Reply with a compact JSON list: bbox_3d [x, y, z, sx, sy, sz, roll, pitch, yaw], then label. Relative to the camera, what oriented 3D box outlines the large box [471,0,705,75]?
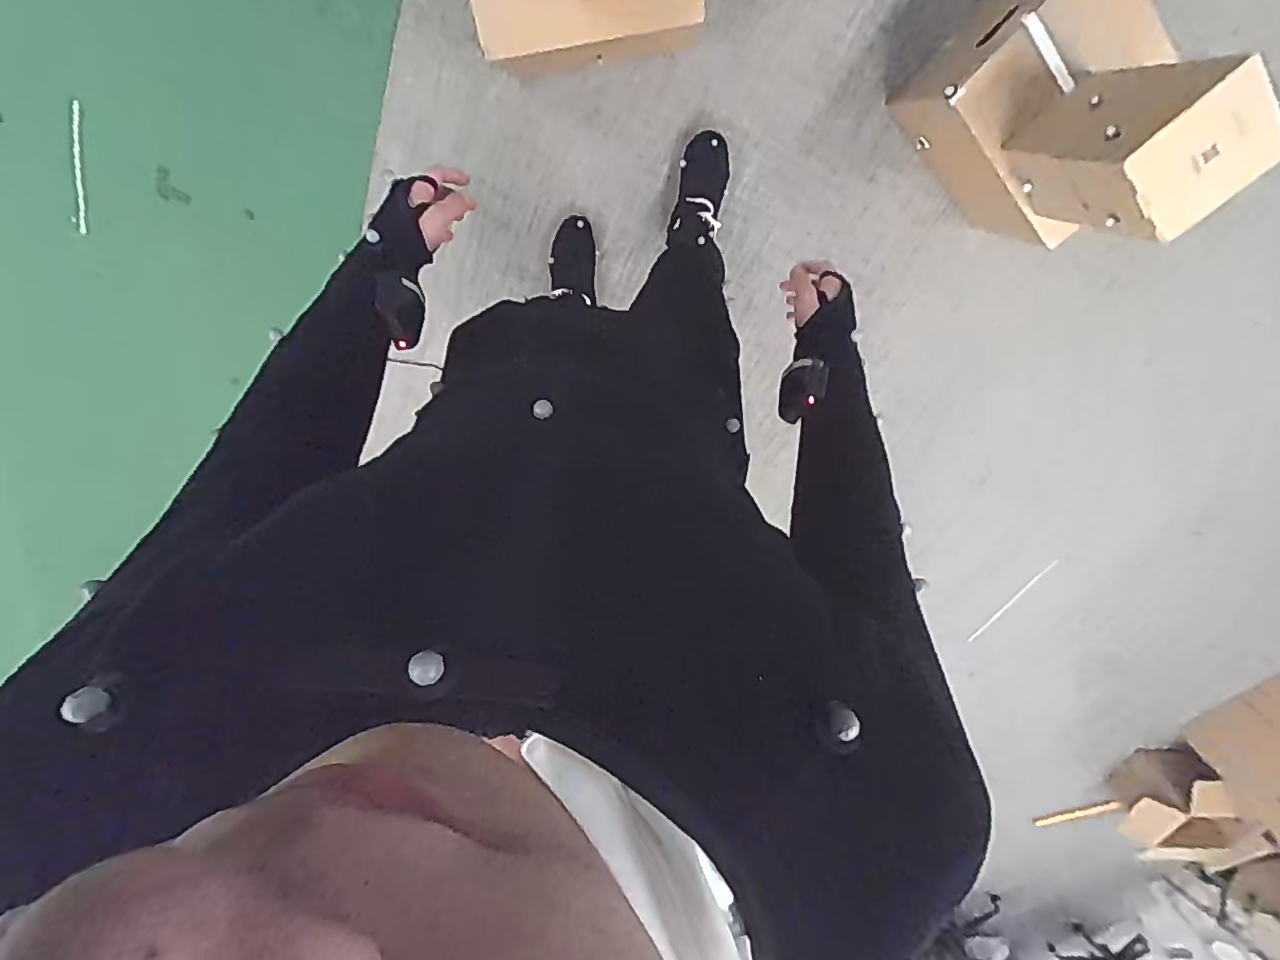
[{"bbox_3d":[-0.102,-0.989,1.005,0.408,0.320,0.320,-7,121,6],"label":"large box"}]

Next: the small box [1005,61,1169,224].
[{"bbox_3d":[0.810,-0.597,0.965,0.168,0.176,0.179,40,116,-22],"label":"small box"}]

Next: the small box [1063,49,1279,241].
[{"bbox_3d":[0.802,-0.505,0.831,0.168,0.176,0.179,38,116,-22],"label":"small box"}]
